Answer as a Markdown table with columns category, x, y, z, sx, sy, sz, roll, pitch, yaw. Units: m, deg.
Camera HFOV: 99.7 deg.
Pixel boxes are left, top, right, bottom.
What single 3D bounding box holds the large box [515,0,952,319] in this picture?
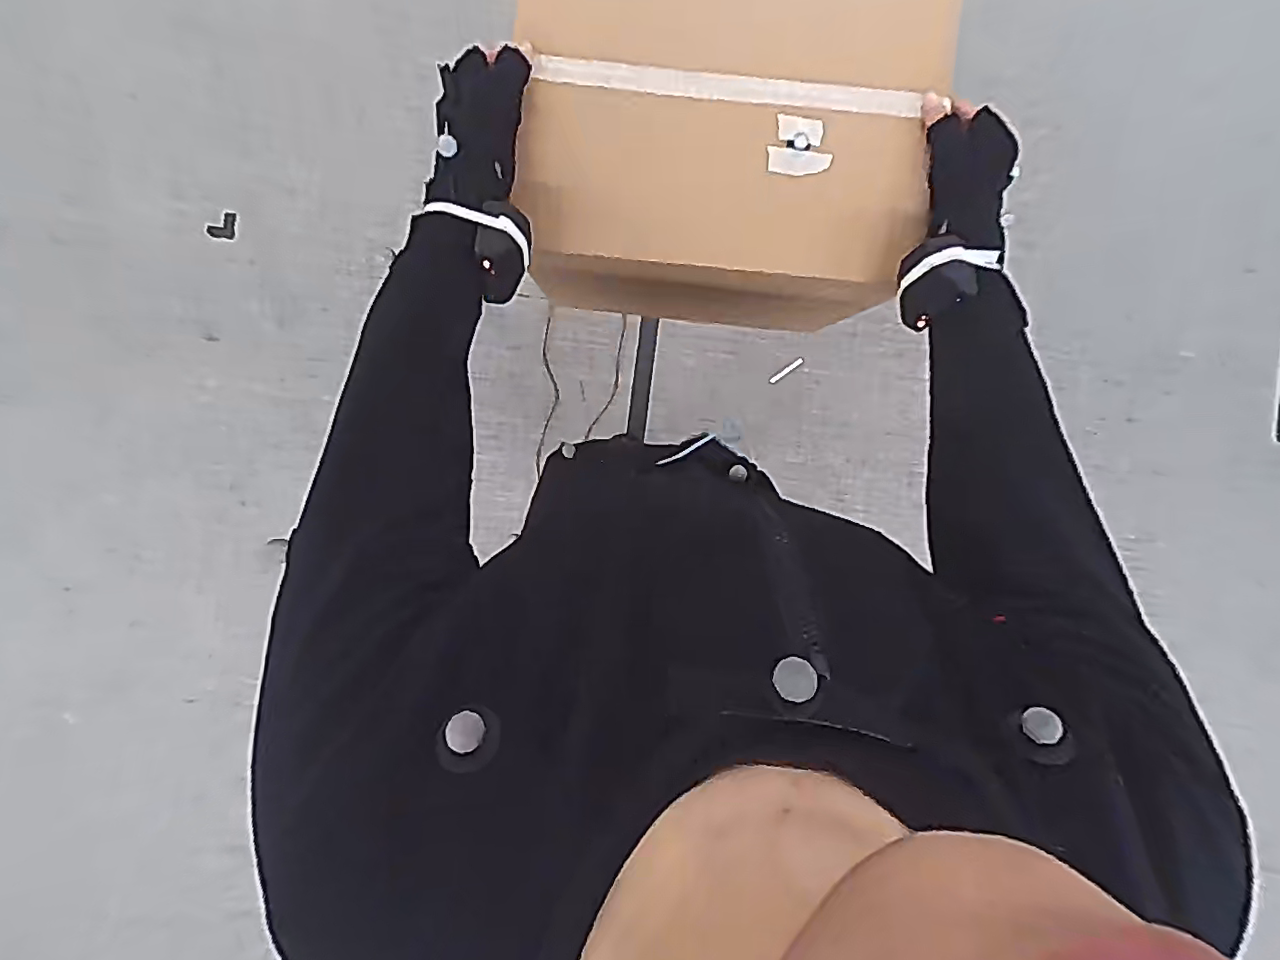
| category | x | y | z | sx | sy | sz | roll | pitch | yaw |
| --- | --- | --- | --- | --- | --- | --- | --- | --- | --- |
| large box | 0.081 | -0.390 | 0.655 | 0.408 | 0.320 | 0.320 | 5 | 98 | -2 |
